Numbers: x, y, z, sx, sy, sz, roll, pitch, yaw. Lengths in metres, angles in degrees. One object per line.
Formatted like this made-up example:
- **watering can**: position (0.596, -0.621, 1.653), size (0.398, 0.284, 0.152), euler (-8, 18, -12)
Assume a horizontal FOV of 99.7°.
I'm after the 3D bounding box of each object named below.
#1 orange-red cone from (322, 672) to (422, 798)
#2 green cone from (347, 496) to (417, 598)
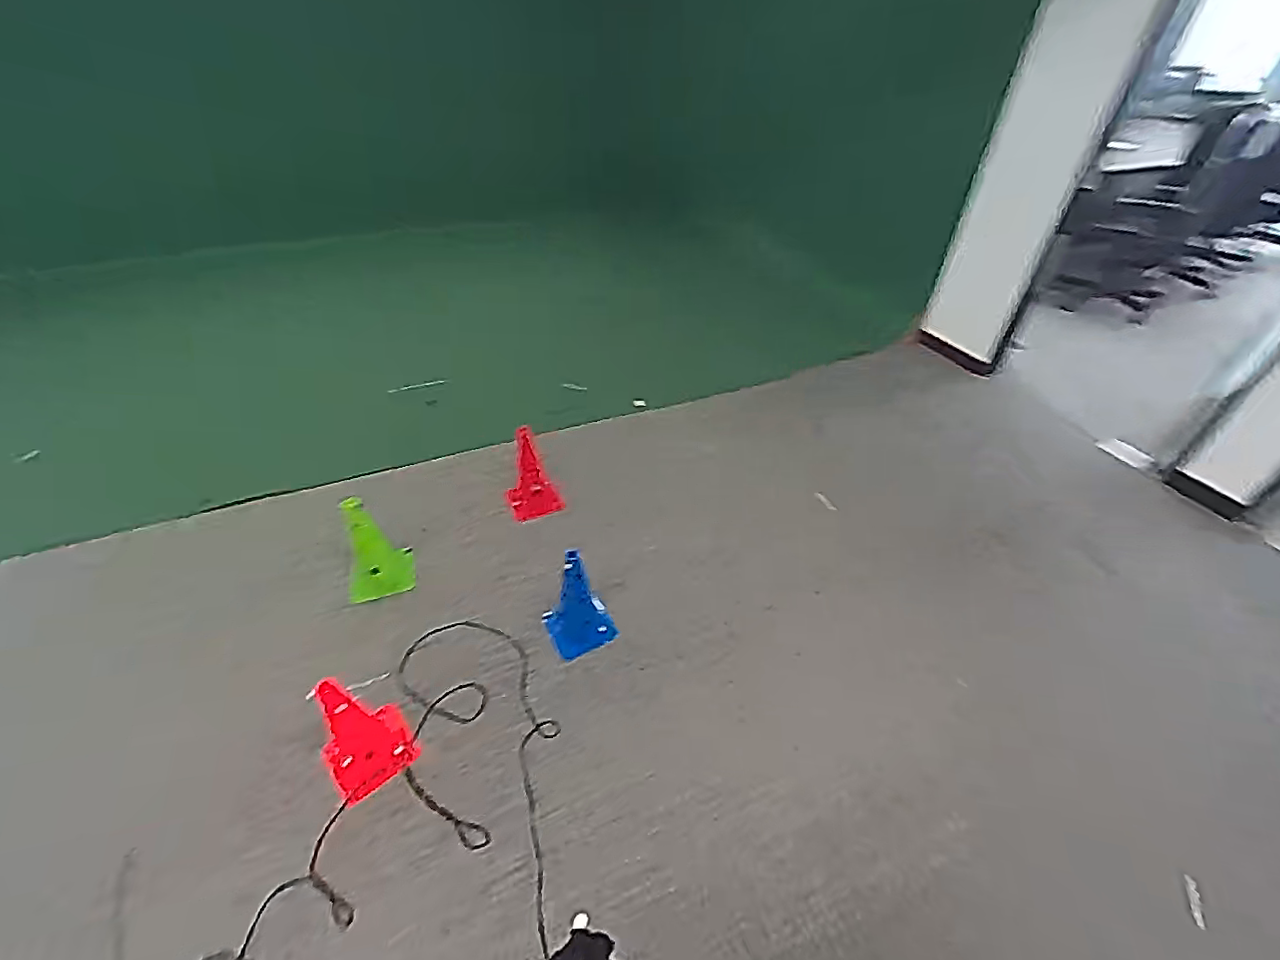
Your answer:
- **orange-red cone**: position (-0.711, 0.589, 1.345), size (0.198, 0.360, 0.199), euler (-29, 48, -31)
- **green cone**: position (-0.891, 0.191, 1.787), size (0.200, 0.368, 0.202), euler (-13, 44, -15)
